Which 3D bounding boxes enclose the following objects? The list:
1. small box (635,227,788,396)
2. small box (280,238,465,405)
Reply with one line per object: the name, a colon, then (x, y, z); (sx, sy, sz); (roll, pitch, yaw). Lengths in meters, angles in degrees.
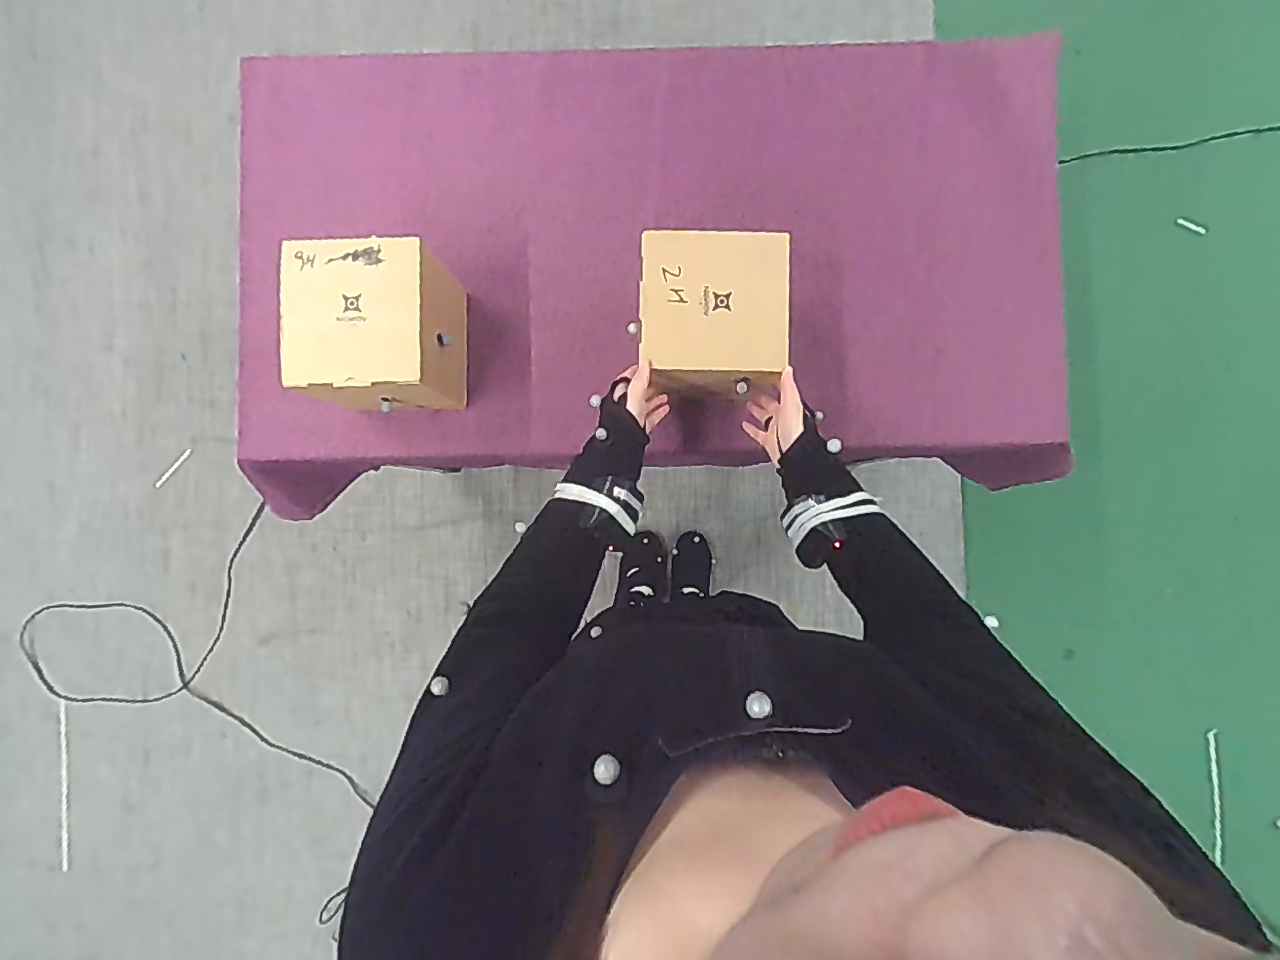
small box: (0.084, -0.208, 0.708); (0.179, 0.176, 0.168); (2, 87, 1)
small box: (-0.339, -0.195, 0.714); (0.168, 0.176, 0.179); (-1, 88, 0)
